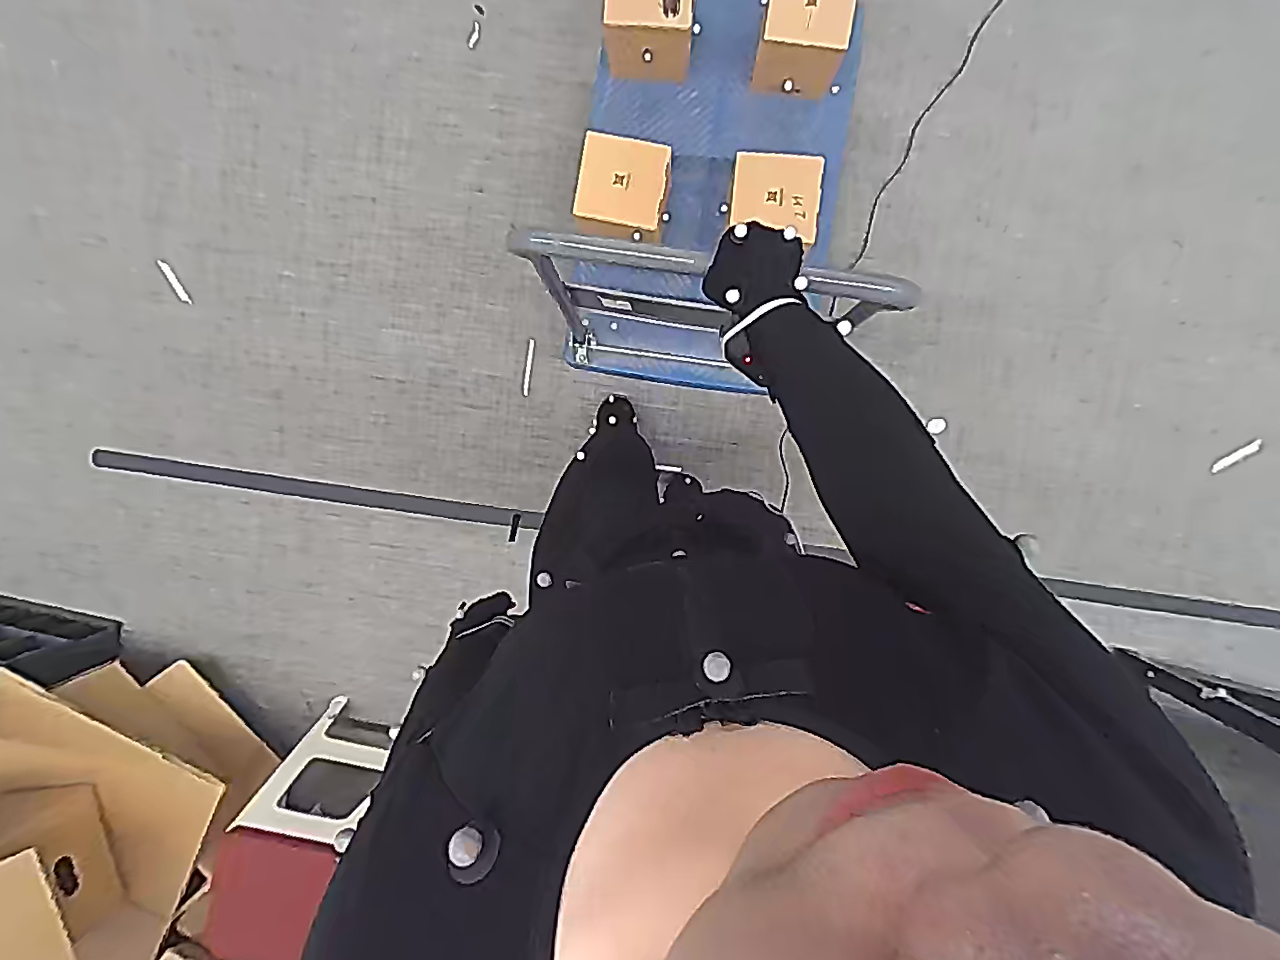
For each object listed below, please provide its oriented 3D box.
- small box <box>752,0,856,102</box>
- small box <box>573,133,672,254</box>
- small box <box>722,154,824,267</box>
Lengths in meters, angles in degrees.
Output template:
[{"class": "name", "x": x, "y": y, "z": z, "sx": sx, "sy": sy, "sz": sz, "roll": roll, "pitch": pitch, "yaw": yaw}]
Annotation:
[{"class": "small box", "x": 0.336, "y": -0.933, "z": 1.119, "sx": 0.168, "sy": 0.176, "sz": 0.179, "roll": 9, "pitch": 97, "yaw": 2}, {"class": "small box", "x": -0.034, "y": -0.606, "z": 1.167, "sx": 0.179, "sy": 0.176, "sz": 0.168, "roll": 11, "pitch": 95, "yaw": 0}, {"class": "small box", "x": 0.273, "y": -0.566, "z": 1.155, "sx": 0.179, "sy": 0.176, "sz": 0.168, "roll": 6, "pitch": 96, "yaw": 2}]
